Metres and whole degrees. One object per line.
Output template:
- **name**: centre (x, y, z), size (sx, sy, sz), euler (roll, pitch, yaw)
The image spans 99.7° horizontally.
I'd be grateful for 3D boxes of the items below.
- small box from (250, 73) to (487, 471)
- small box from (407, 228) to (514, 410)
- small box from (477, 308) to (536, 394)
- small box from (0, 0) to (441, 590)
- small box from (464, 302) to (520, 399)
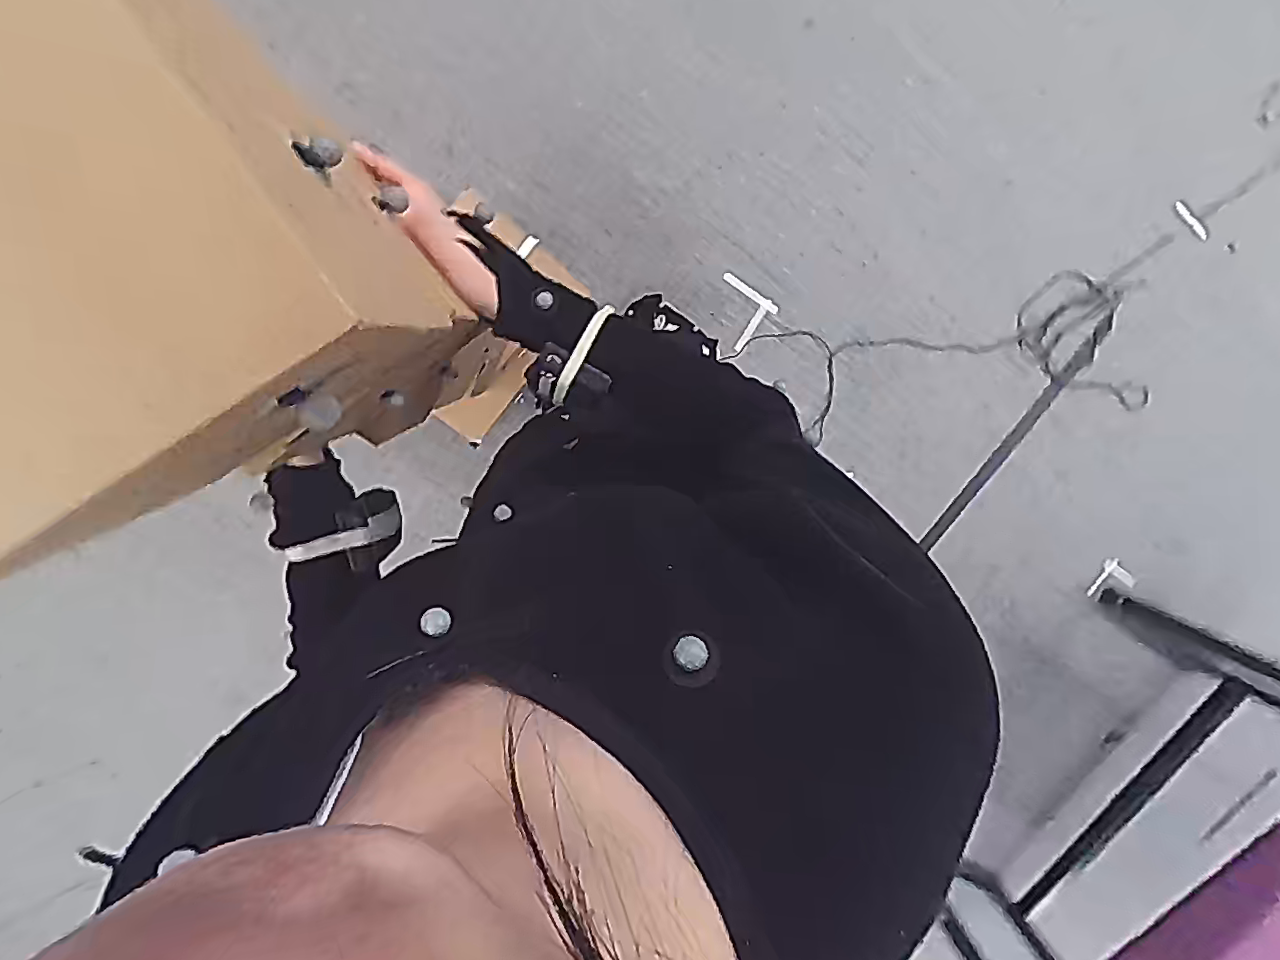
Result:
- **small box**: centre (-0.230, -0.135, 0.378), size (0.168, 0.176, 0.179), euler (-38, 108, 2)
- **small box**: centre (-0.278, -0.214, 0.706), size (0.168, 0.176, 0.179), euler (31, 96, -13)
- **small box**: centre (-0.310, -0.280, 1.024), size (0.168, 0.176, 0.179), euler (40, 95, -15)
- **small box**: centre (-0.204, -0.089, 0.223), size (0.179, 0.176, 0.168), euler (-33, 108, 0)
- **small box**: centre (-0.305, -0.247, 0.864), size (0.179, 0.176, 0.168), euler (25, 98, -12)
